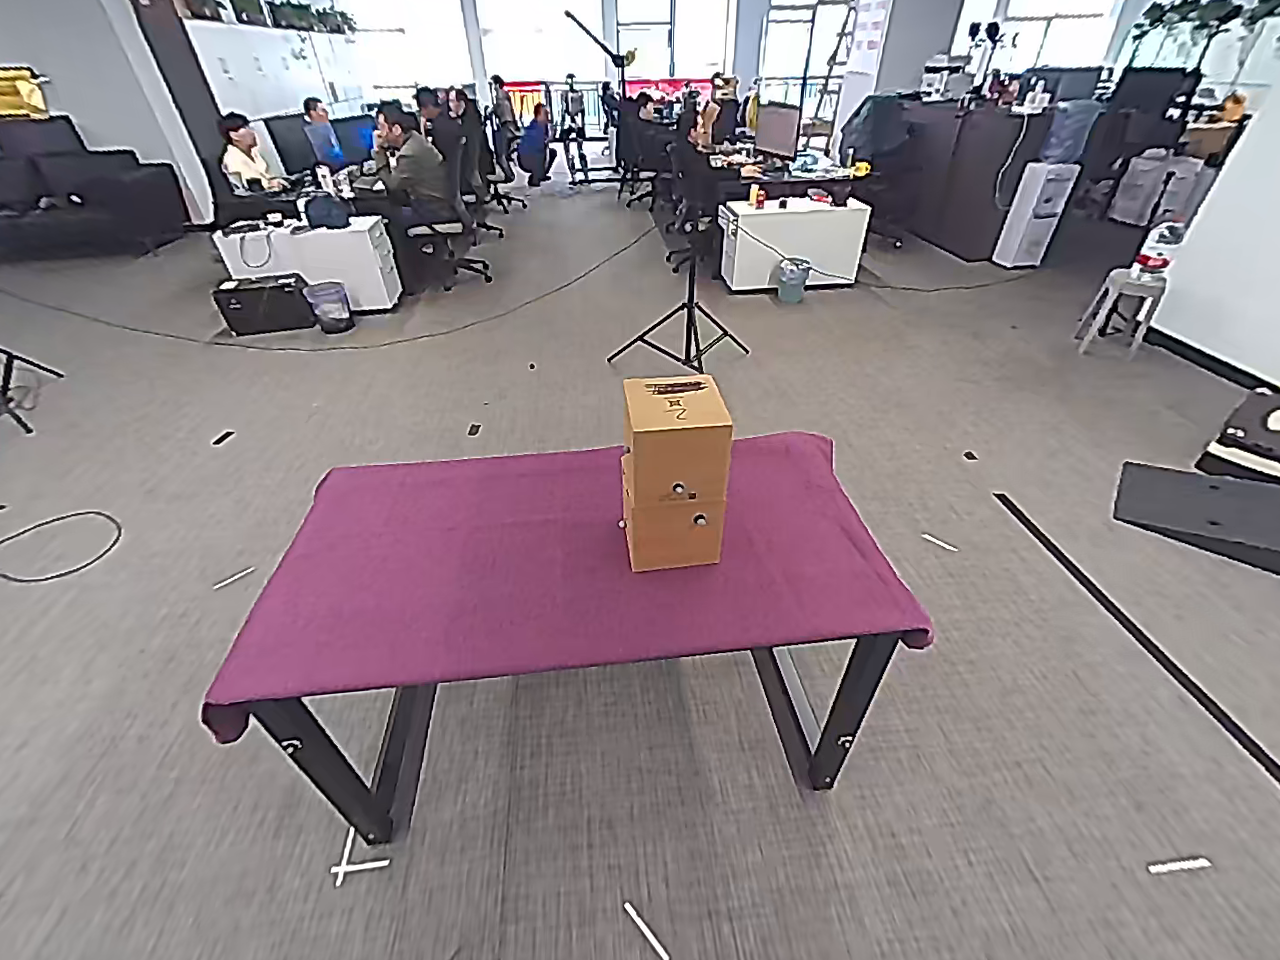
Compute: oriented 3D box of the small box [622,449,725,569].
[{"bbox_3d":[0.060,0.059,1.081,0.179,0.176,0.168,-6,38,-5],"label":"small box"}]
